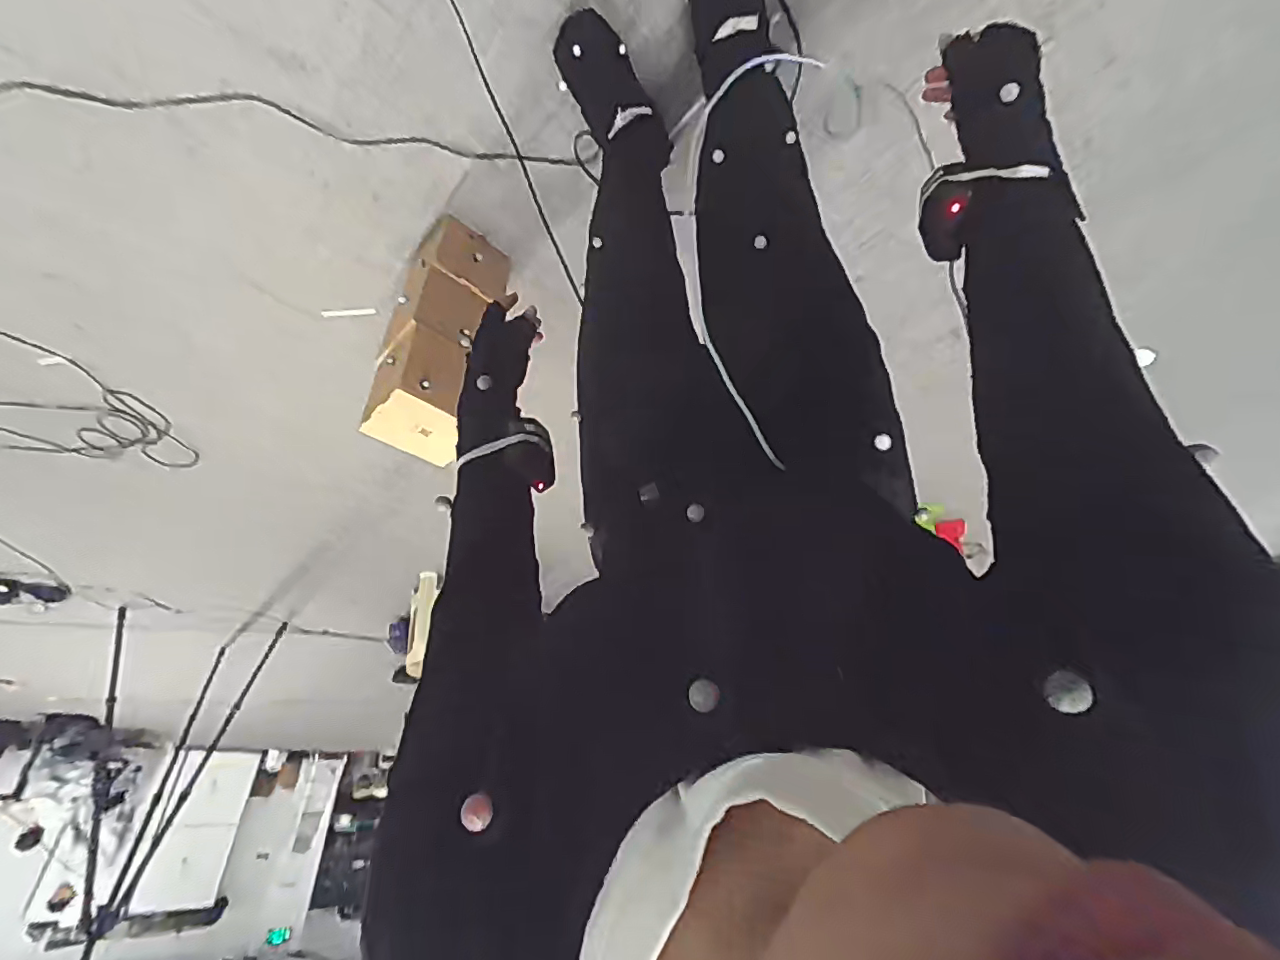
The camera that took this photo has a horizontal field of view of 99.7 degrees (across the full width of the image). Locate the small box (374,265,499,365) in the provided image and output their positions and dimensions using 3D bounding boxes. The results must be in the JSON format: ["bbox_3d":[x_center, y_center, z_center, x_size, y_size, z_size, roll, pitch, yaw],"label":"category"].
[{"bbox_3d":[-0.416,-0.308,1.130,0.168,0.176,0.179,-28,139,35],"label":"small box"}]

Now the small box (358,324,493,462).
[{"bbox_3d":[-0.406,-0.167,1.049,0.168,0.176,0.179,-28,139,36],"label":"small box"}]

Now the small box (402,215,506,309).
[{"bbox_3d":[-0.416,-0.450,1.213,0.179,0.176,0.168,-29,139,35],"label":"small box"}]
